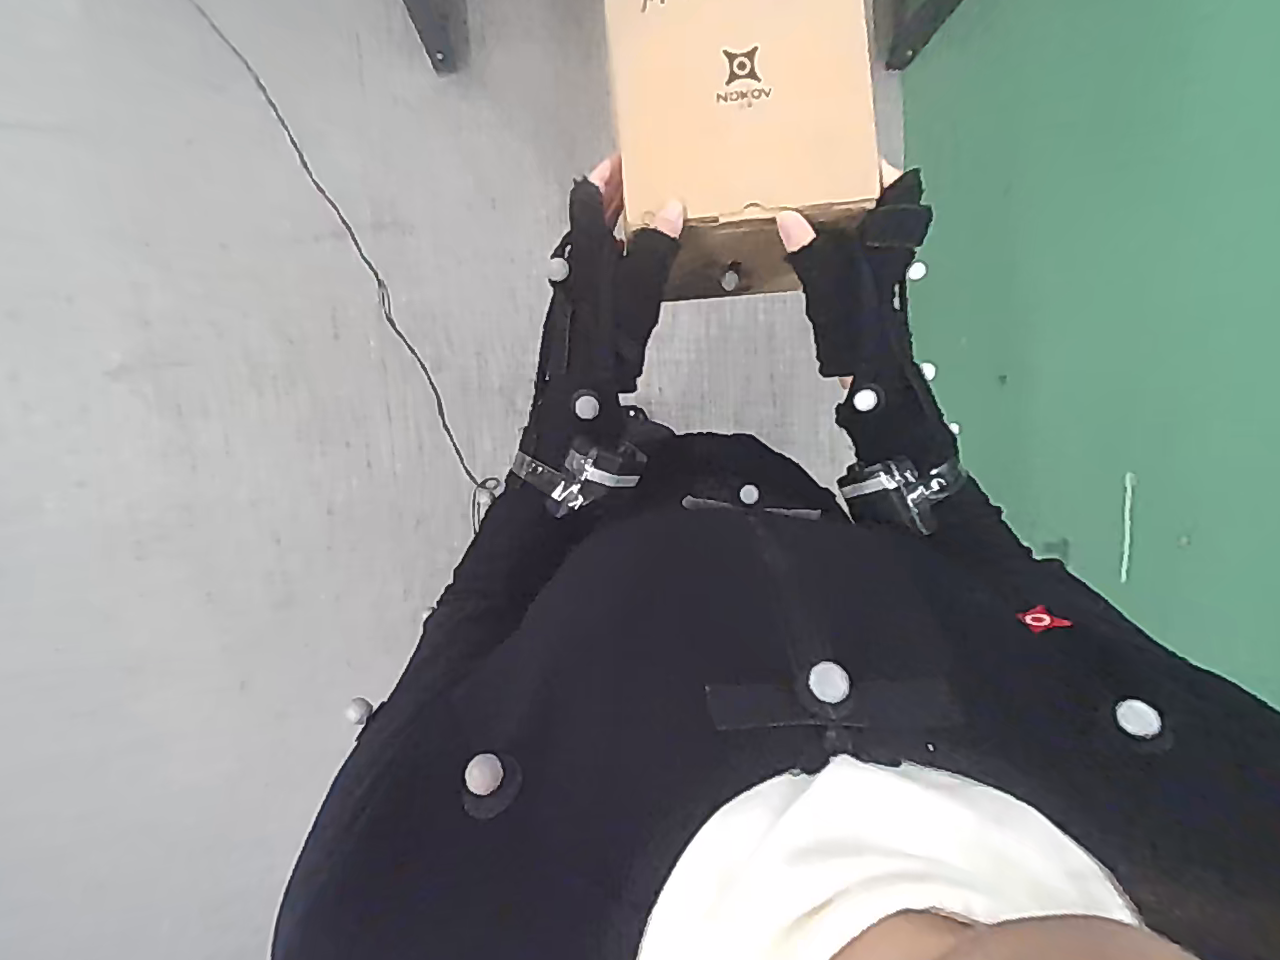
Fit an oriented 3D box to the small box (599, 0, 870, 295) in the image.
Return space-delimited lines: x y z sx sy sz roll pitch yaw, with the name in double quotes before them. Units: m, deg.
"small box" 0.062 -0.256 0.427 0.168 0.176 0.179 -5 92 0
